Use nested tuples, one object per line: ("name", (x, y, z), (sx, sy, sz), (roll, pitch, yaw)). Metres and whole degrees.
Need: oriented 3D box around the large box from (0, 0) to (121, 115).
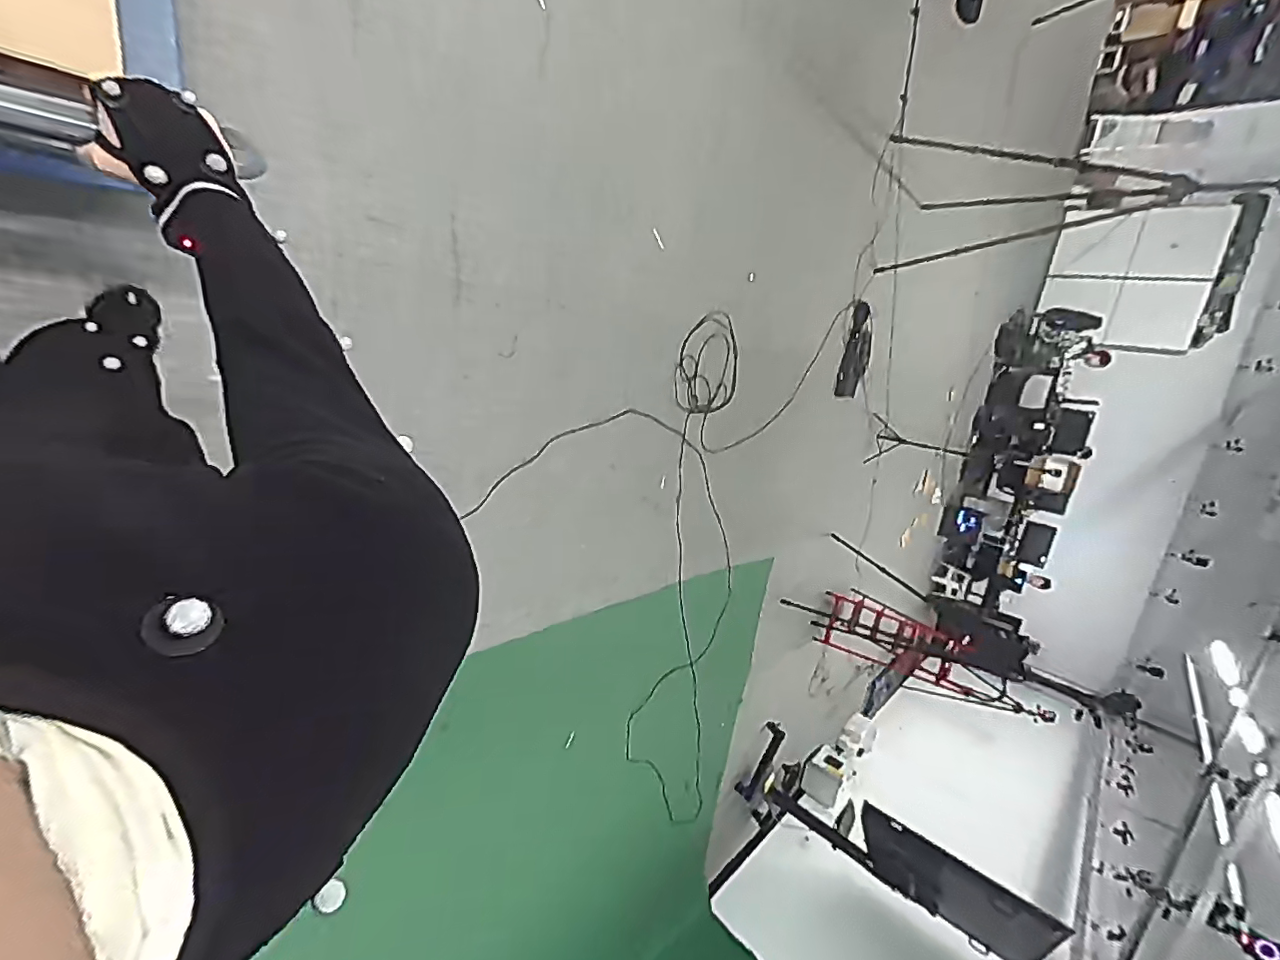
("large box", (-0.919, -0.763, 0.688), (0.320, 0.320, 0.408), (-11, 113, -46))
